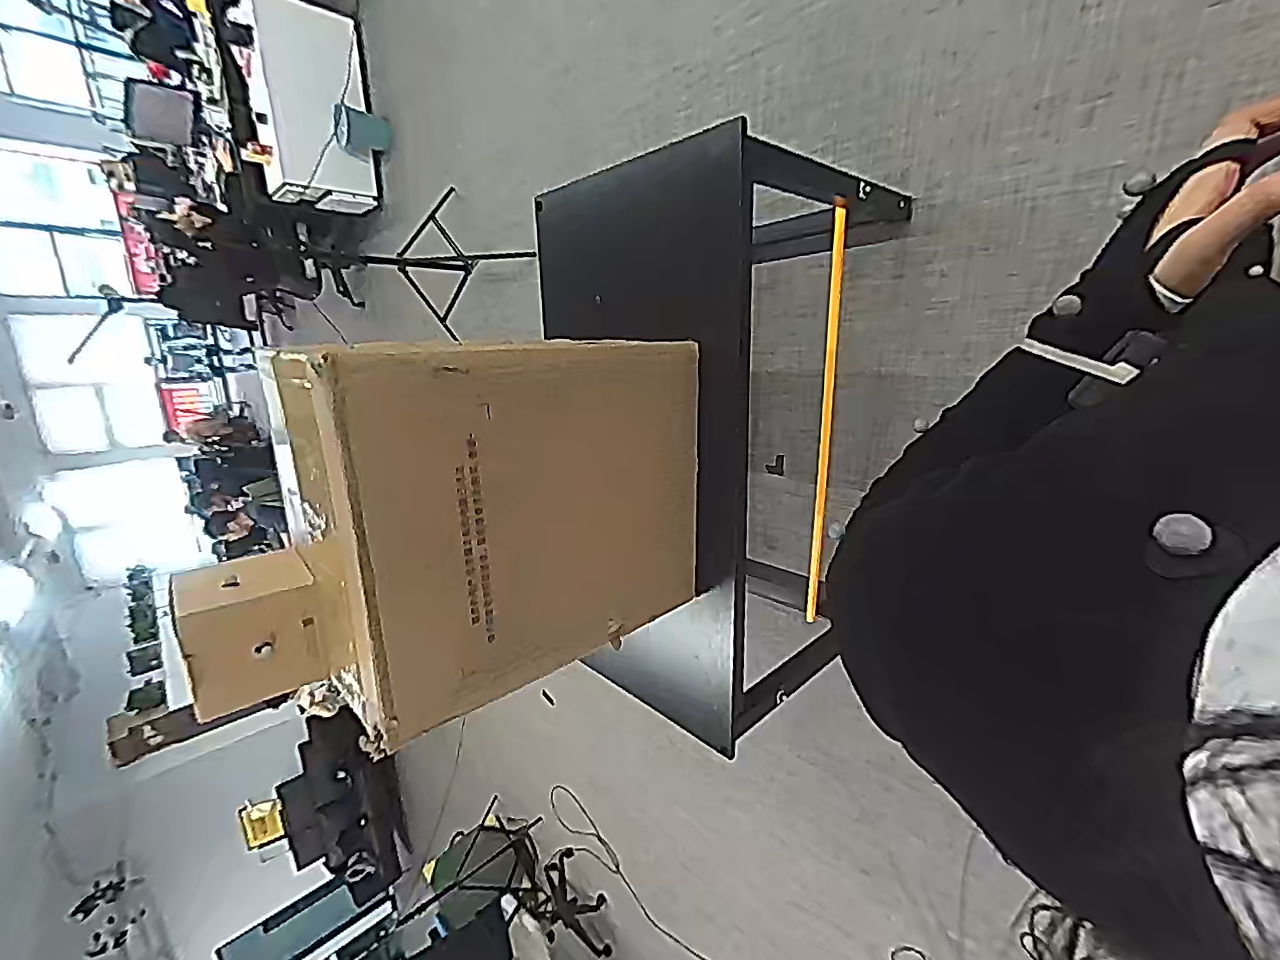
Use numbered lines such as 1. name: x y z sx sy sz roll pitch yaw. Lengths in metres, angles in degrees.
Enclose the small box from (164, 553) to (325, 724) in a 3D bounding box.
1. small box: -0.598 0.226 0.829 0.179 0.176 0.168 17 112 46
